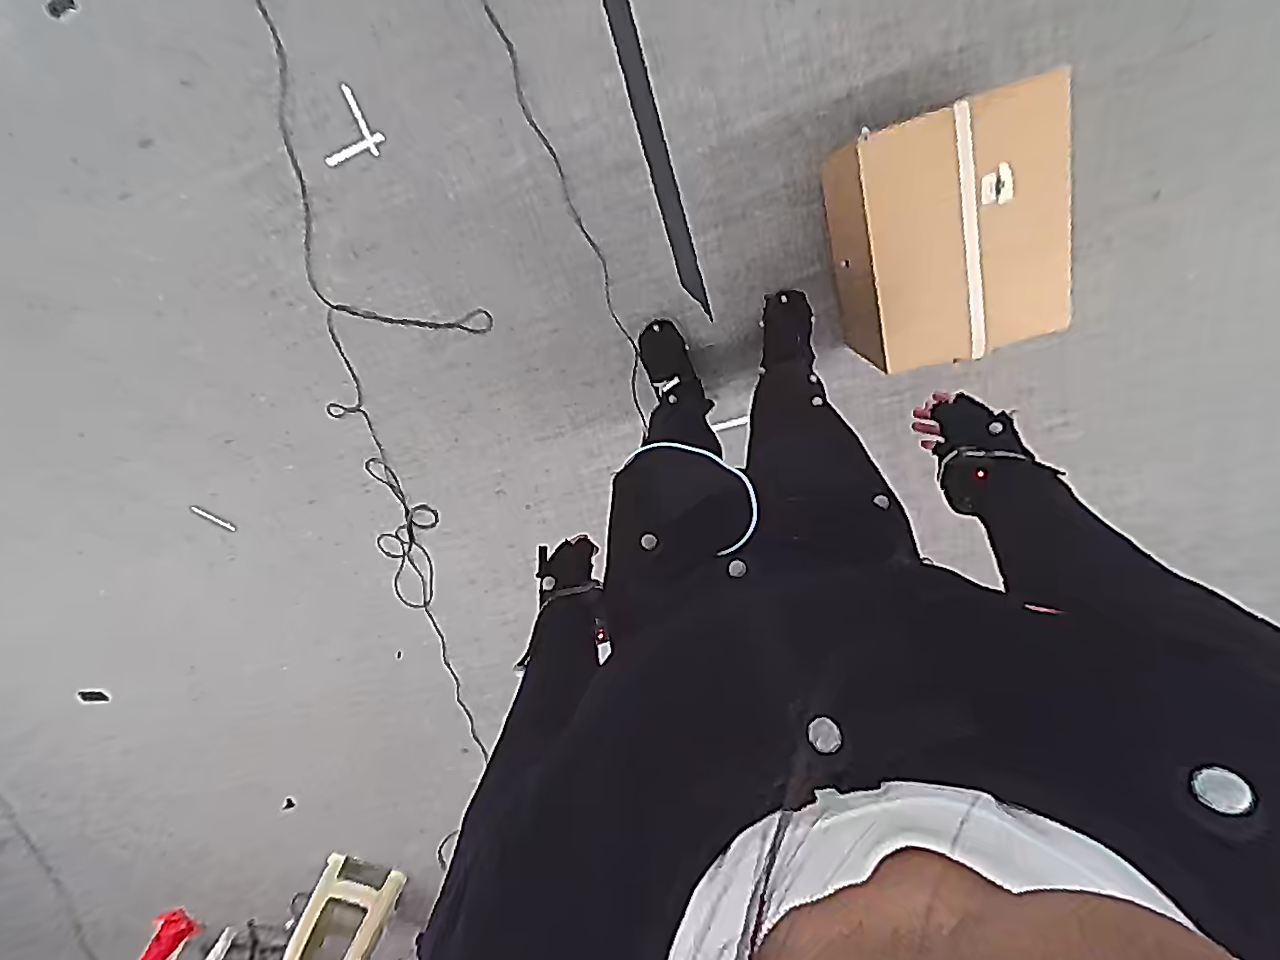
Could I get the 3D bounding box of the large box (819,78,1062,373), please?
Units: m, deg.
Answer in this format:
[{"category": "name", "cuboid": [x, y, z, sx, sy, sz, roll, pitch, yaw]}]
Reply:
[{"category": "large box", "cuboid": [0.572, -0.471, 1.072, 0.320, 0.320, 0.408, -14, 111, 10]}]
